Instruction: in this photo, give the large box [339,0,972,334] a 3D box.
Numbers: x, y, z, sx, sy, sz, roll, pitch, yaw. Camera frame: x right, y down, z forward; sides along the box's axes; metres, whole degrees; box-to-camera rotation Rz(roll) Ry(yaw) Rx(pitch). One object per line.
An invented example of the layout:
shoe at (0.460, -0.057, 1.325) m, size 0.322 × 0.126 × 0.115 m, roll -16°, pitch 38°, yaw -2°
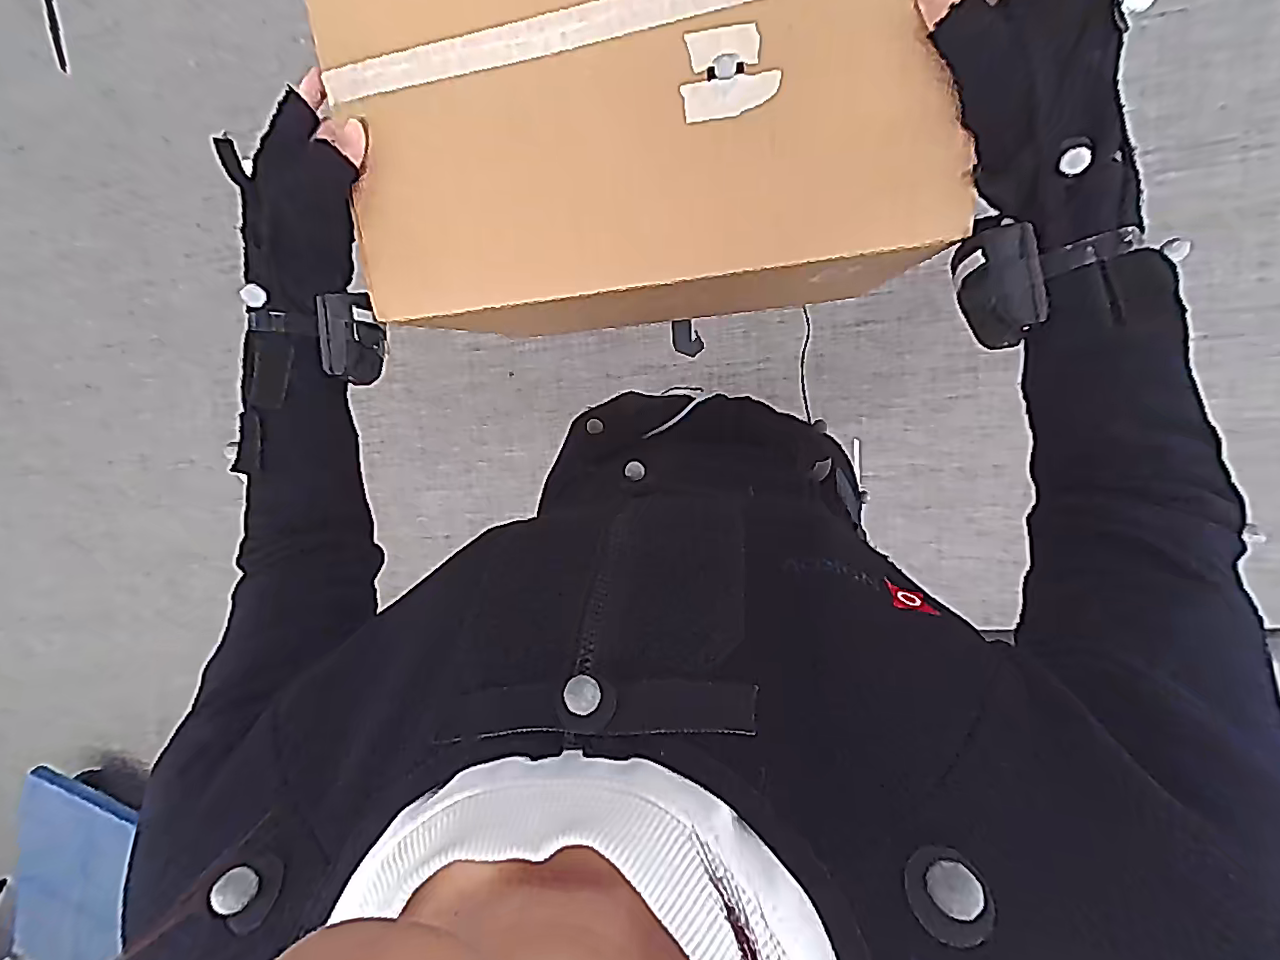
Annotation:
large box at (0.016, -0.322, 0.487) m, size 0.408 × 0.320 × 0.320 m, roll -5°, pitch 102°, yaw 11°
